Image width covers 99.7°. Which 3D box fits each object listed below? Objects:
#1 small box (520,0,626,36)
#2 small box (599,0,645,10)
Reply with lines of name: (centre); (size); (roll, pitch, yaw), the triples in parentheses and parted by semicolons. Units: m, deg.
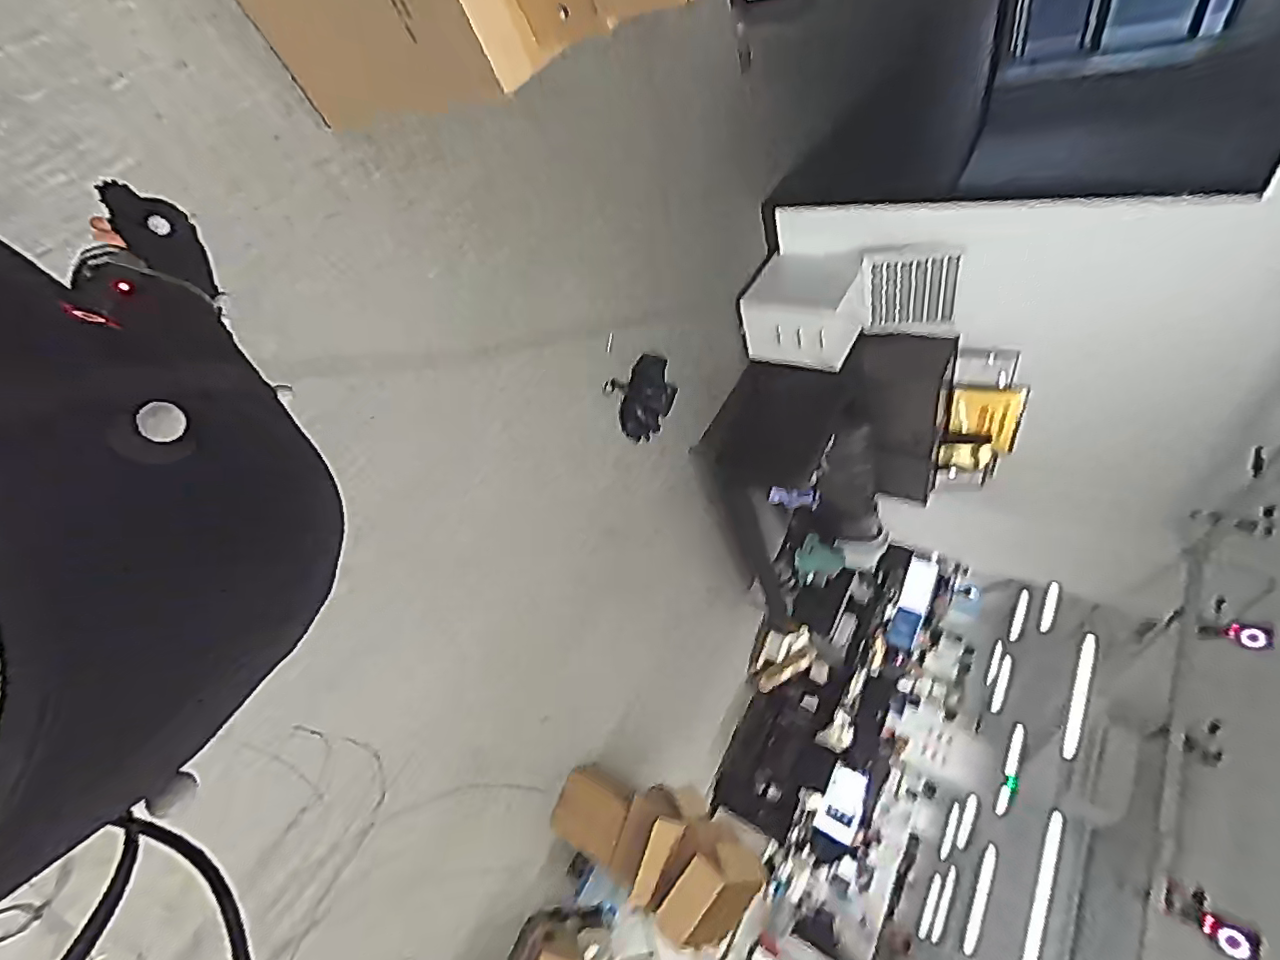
small box: (-0.111, -0.872, 0.884); (0.168, 0.176, 0.179); (-62, 144, -15)
small box: (0.014, -0.834, 0.786); (0.179, 0.176, 0.168); (-59, 145, -18)
